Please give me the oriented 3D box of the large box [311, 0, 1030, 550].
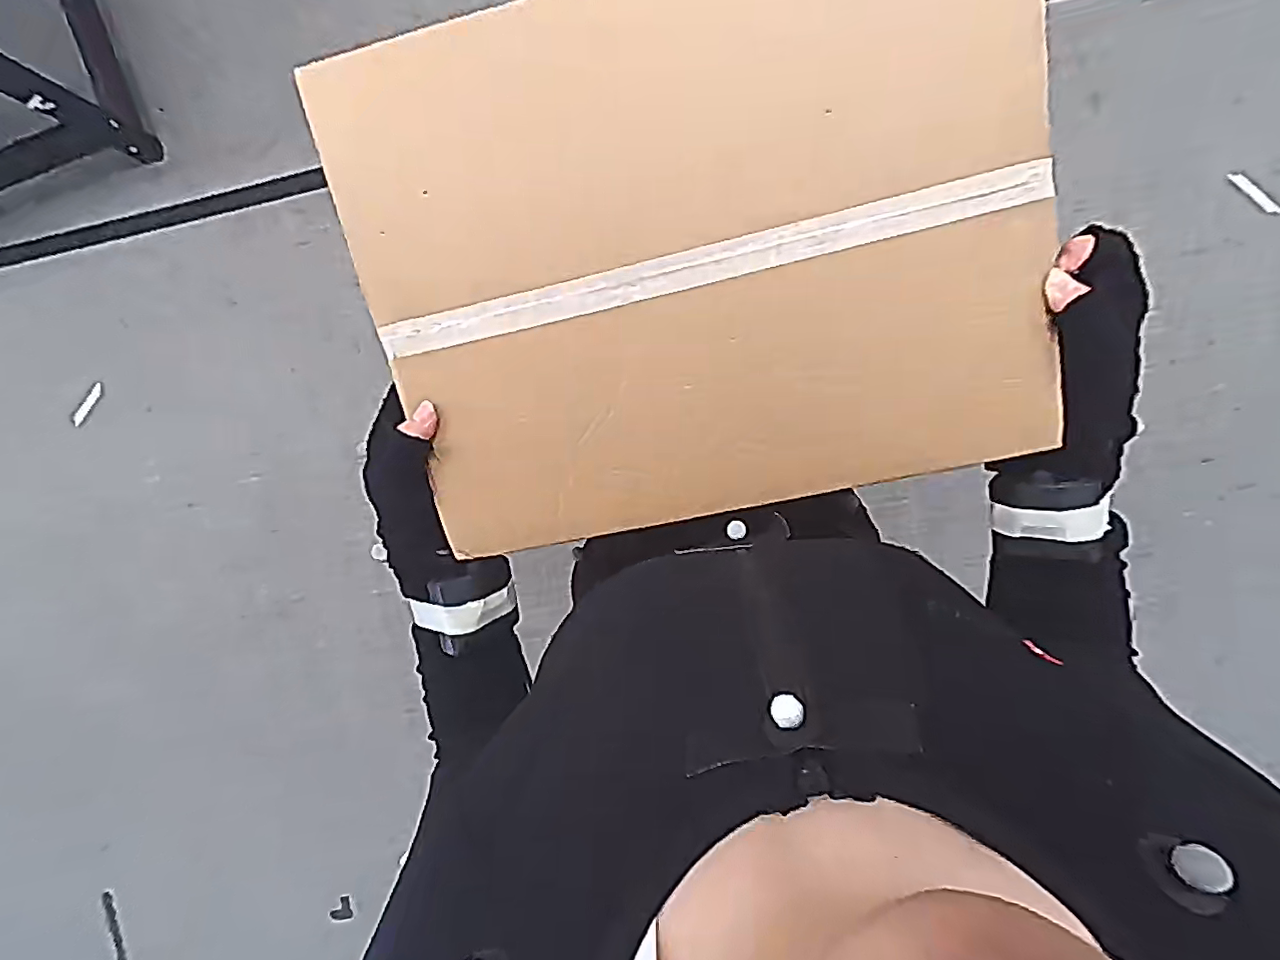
[{"bbox_3d":[0.038,-0.172,0.479,0.408,0.320,0.320,-11,104,7],"label":"large box"}]
